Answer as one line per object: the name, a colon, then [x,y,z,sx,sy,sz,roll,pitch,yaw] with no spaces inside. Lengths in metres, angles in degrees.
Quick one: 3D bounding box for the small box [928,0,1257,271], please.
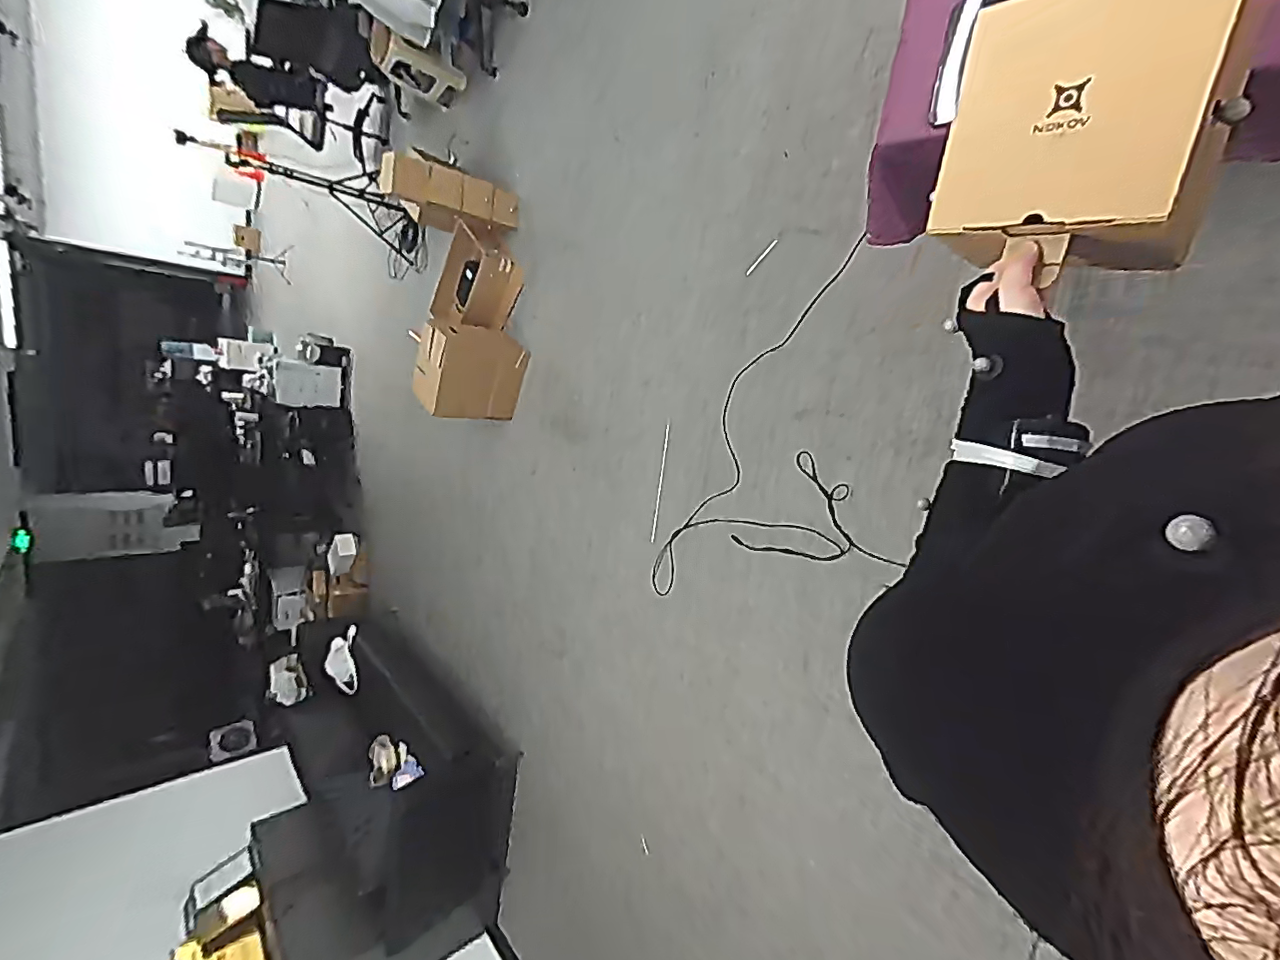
small box: [0.384,-0.291,0.470,0.168,0.176,0.179,22,110,43]
